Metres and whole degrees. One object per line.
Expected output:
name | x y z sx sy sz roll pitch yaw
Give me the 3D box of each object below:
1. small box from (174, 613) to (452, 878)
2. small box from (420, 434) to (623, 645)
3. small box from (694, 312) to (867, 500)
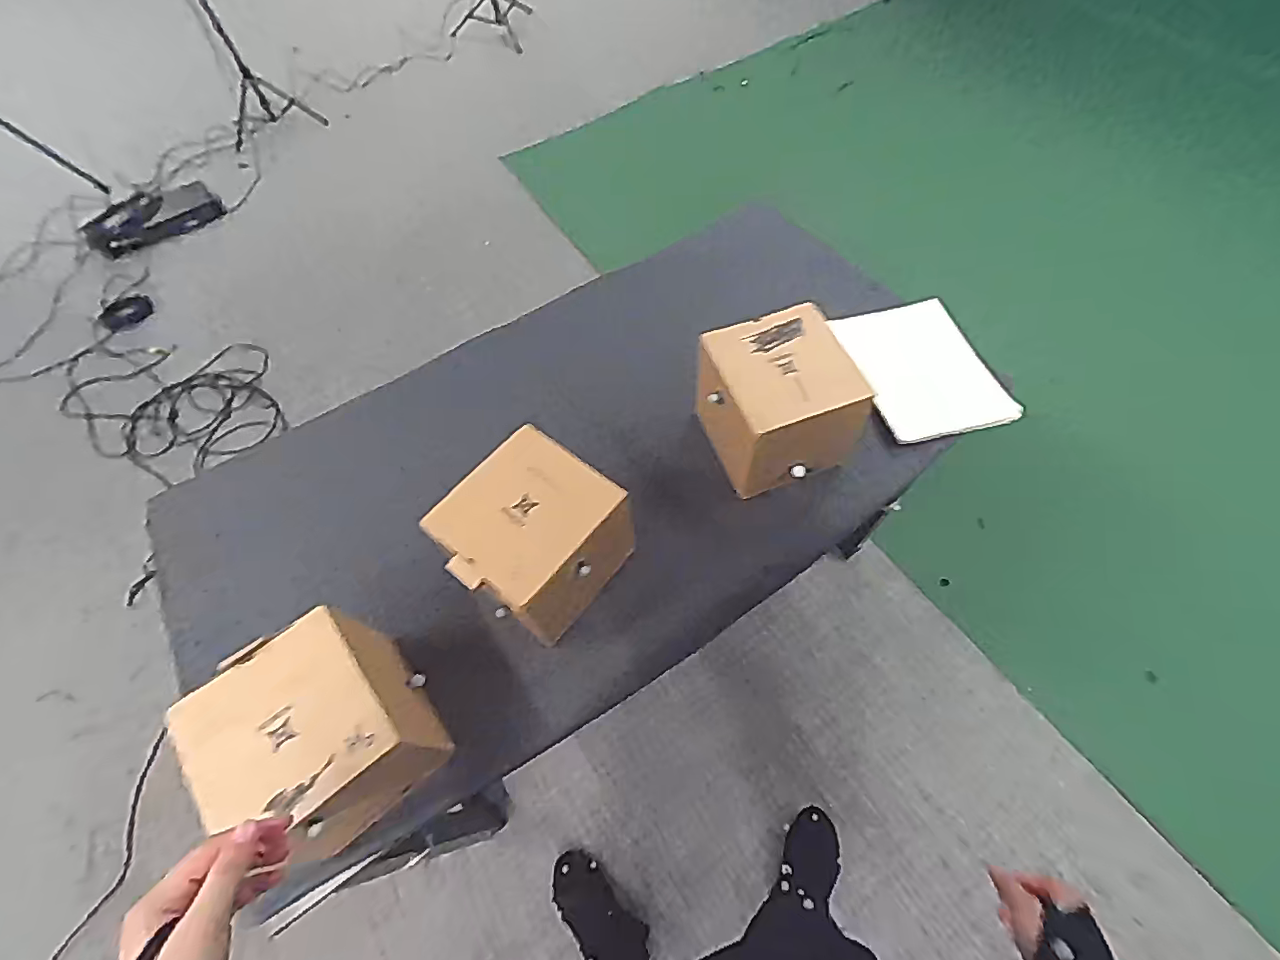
small box | -0.338 0.282 0.587 0.168 0.176 0.179 -37 65 -17
small box | -0.133 0.082 0.689 0.168 0.176 0.179 34 67 19
small box | 0.182 -0.100 0.767 0.168 0.176 0.179 -19 61 -6
